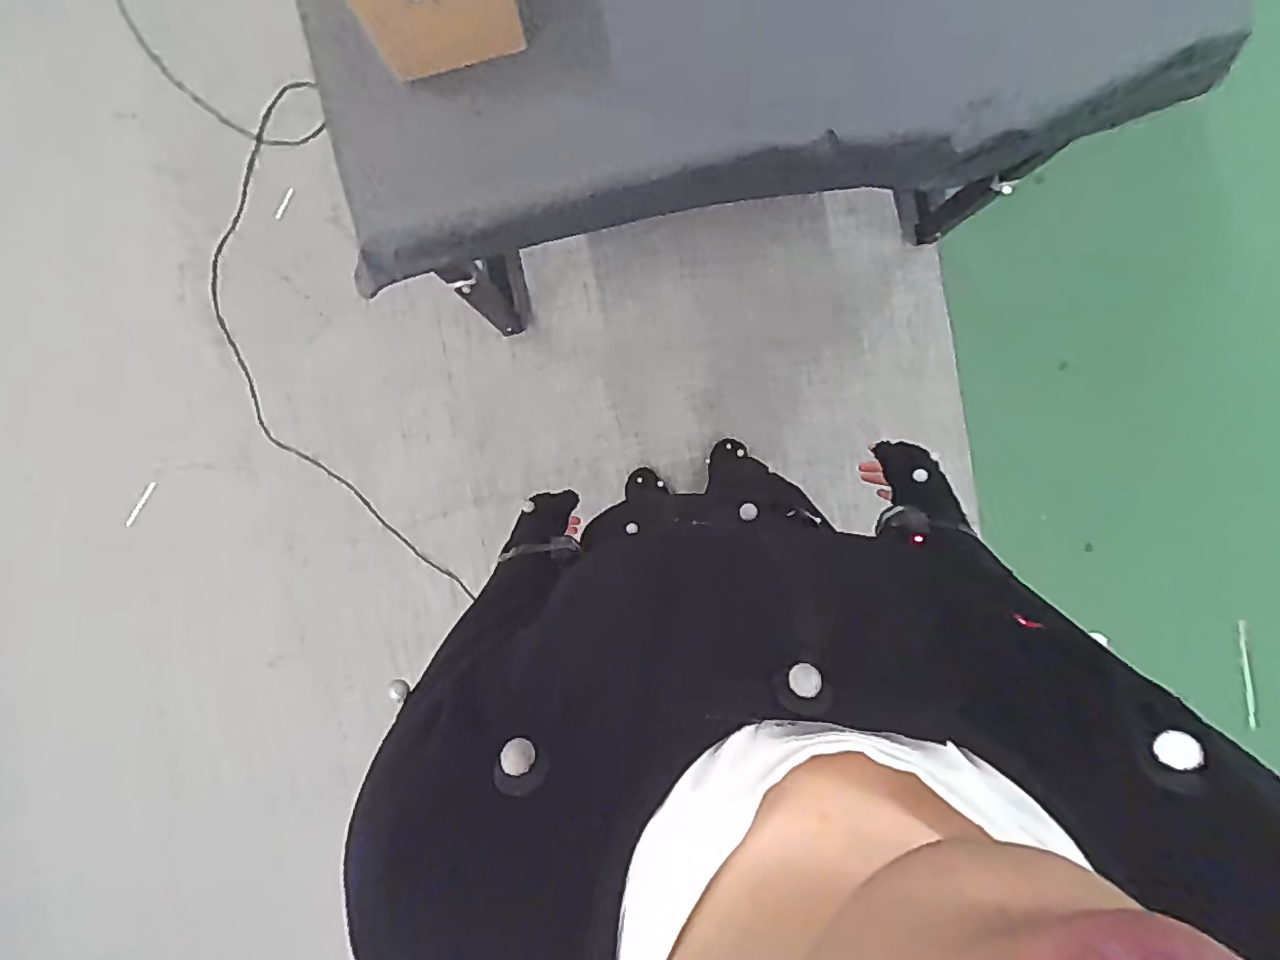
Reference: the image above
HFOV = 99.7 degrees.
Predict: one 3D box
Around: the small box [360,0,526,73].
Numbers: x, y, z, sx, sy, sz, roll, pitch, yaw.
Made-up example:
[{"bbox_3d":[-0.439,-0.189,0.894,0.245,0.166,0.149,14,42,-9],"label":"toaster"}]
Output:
[{"bbox_3d":[-0.249,-0.620,0.626,0.179,0.176,0.168,-15,93,-1],"label":"small box"}]
